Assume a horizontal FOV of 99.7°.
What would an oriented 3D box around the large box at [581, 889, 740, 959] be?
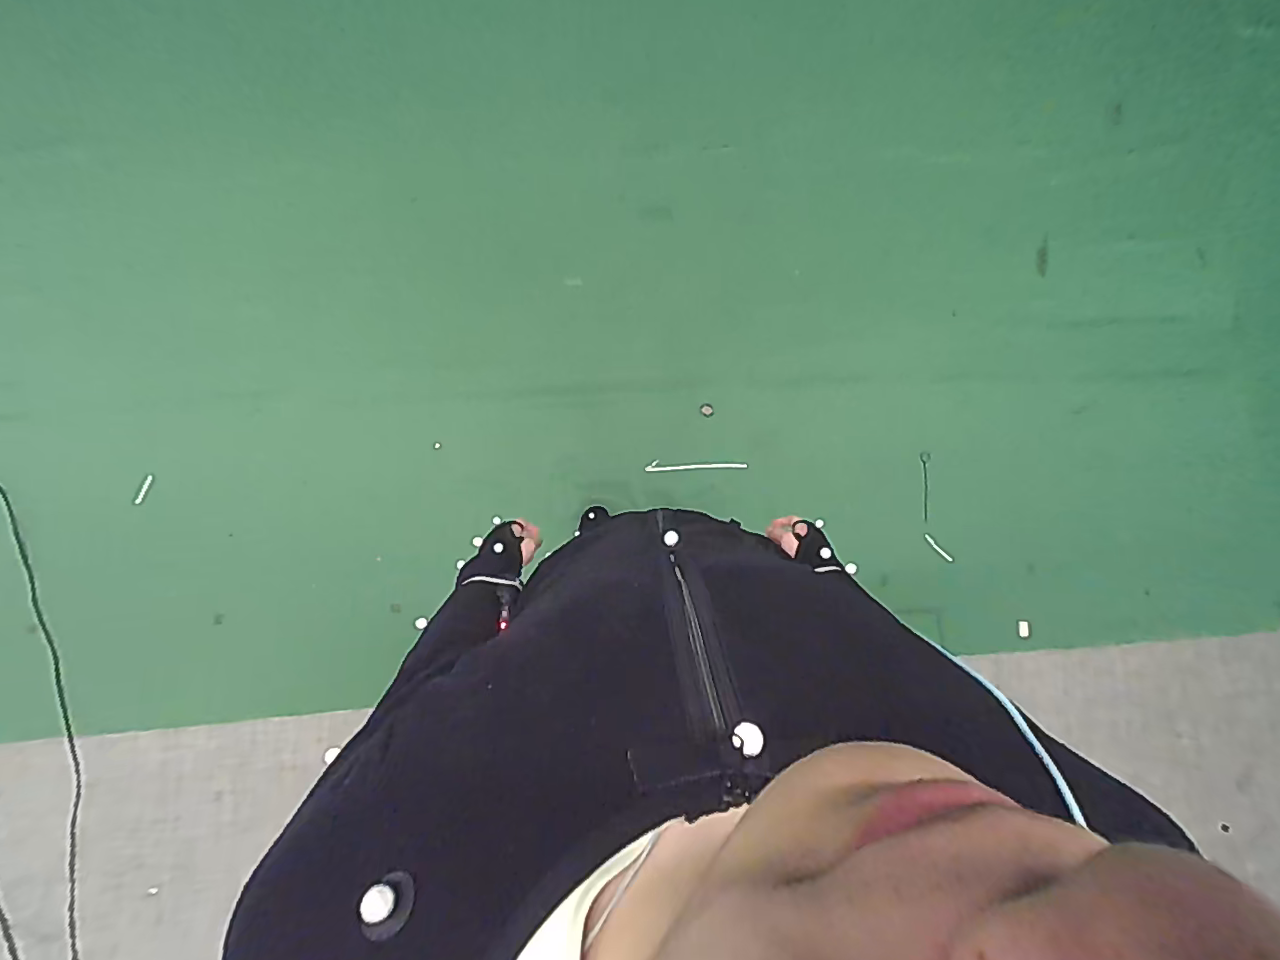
[{"bbox_3d":[0.059,1.366,1.429,0.408,0.320,0.320,-5,87,-5],"label":"large box"}]
